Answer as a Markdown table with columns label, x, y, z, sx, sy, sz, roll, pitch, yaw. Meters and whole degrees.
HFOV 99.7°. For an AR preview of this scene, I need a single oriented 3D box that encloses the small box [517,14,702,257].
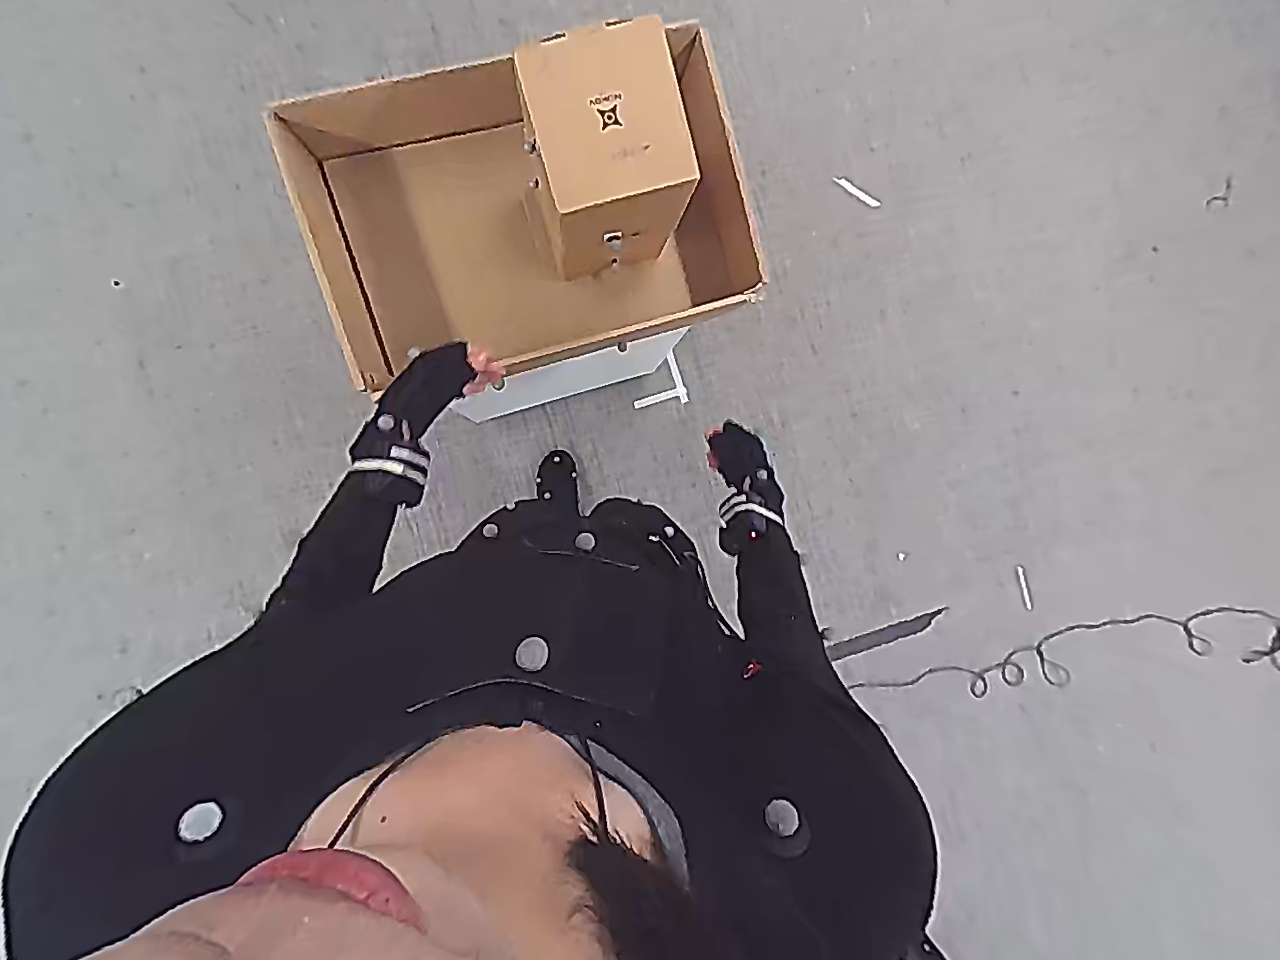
| label | x | y | z | sx | sy | sz | roll | pitch | yaw |
| --- | --- | --- | --- | --- | --- | --- | --- | --- | --- |
| small box | -0.039 | -0.401 | 0.660 | 0.168 | 0.176 | 0.179 | -17 | 98 | -3 |

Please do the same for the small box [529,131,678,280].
| label | x | y | z | sx | sy | sz | roll | pitch | yaw |
| --- | --- | --- | --- | --- | --- | --- | --- | --- | --- |
| small box | -0.059 | -0.424 | 0.821 | 0.179 | 0.176 | 0.168 | -17 | 97 | -6 |
